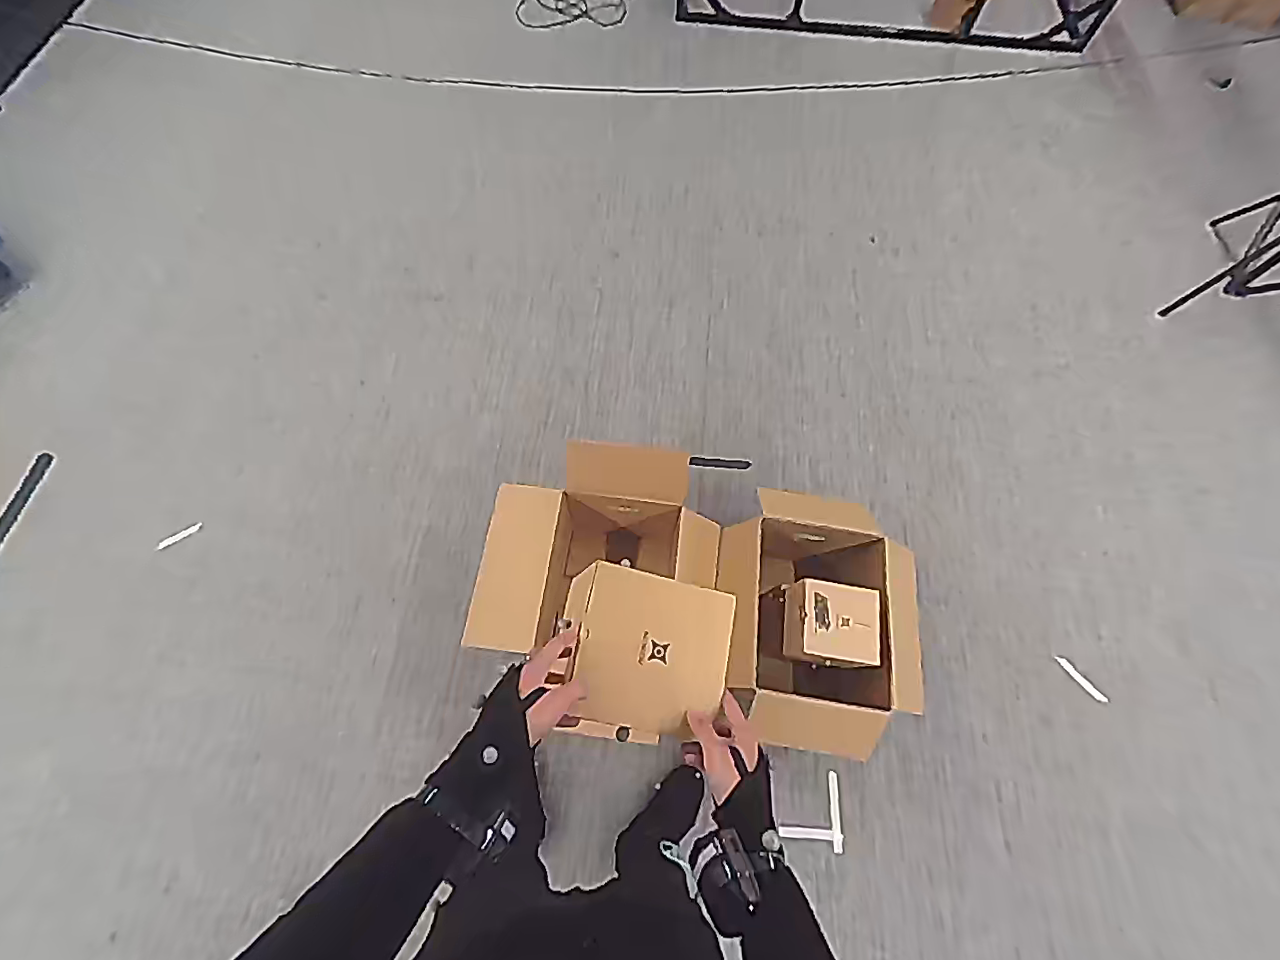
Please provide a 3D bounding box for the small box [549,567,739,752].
[{"bbox_3d":[-0.002,0.215,0.665,0.179,0.176,0.168,16,70,-10],"label":"small box"}]
